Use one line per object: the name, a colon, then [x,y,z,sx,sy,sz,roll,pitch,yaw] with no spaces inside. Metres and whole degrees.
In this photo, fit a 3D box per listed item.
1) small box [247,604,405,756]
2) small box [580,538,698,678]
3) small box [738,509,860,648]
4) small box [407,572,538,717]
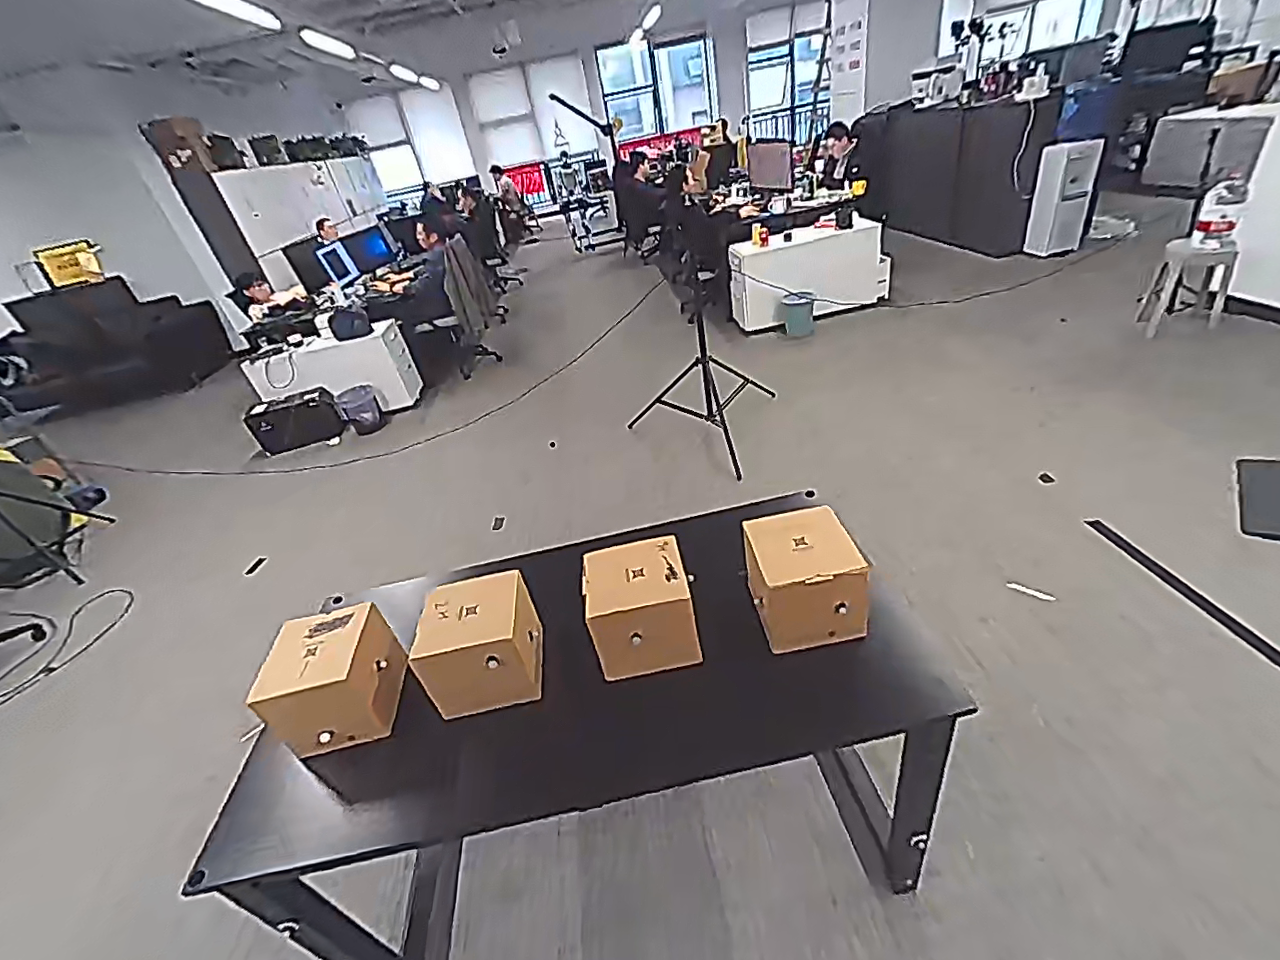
small box: [-0.549,0.359,0.978,0.168,0.176,0.179,-14,34,-2]
small box: [-0.003,0.235,0.988,0.179,0.176,0.168,-12,33,1]
small box: [0.282,0.181,0.975,0.168,0.176,0.179,-11,32,1]
small box: [-0.289,0.299,0.983,0.179,0.176,0.168,-13,33,-1]
